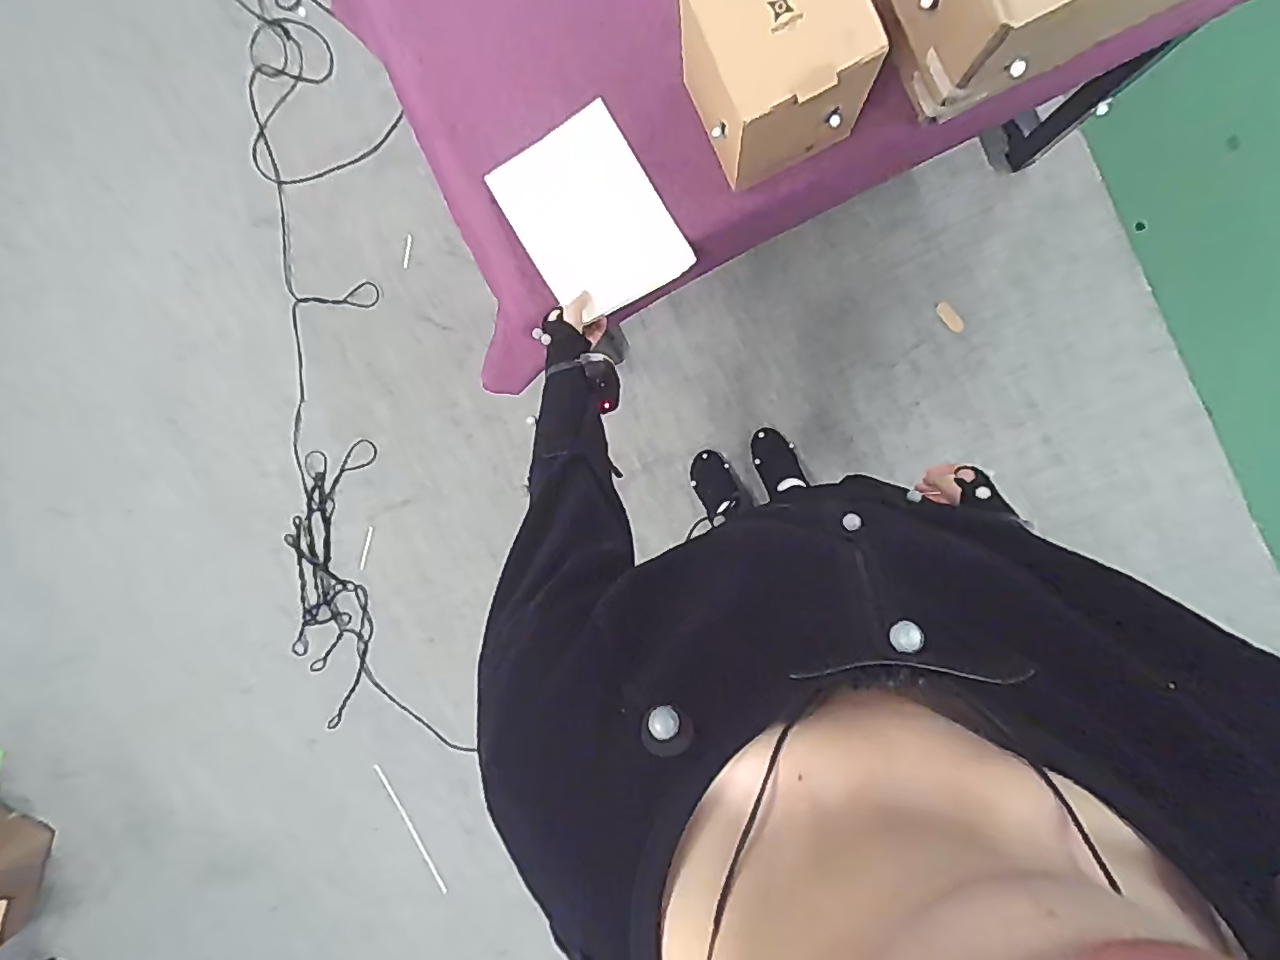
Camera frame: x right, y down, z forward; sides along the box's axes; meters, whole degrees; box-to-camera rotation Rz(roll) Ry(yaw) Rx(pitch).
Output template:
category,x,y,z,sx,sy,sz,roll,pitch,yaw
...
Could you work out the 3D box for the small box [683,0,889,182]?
category,x,y,z,sx,sy,sz,roll,pitch,yaw
small box,0.162,-0.492,0.645,0.168,0.176,0.179,-24,90,8
